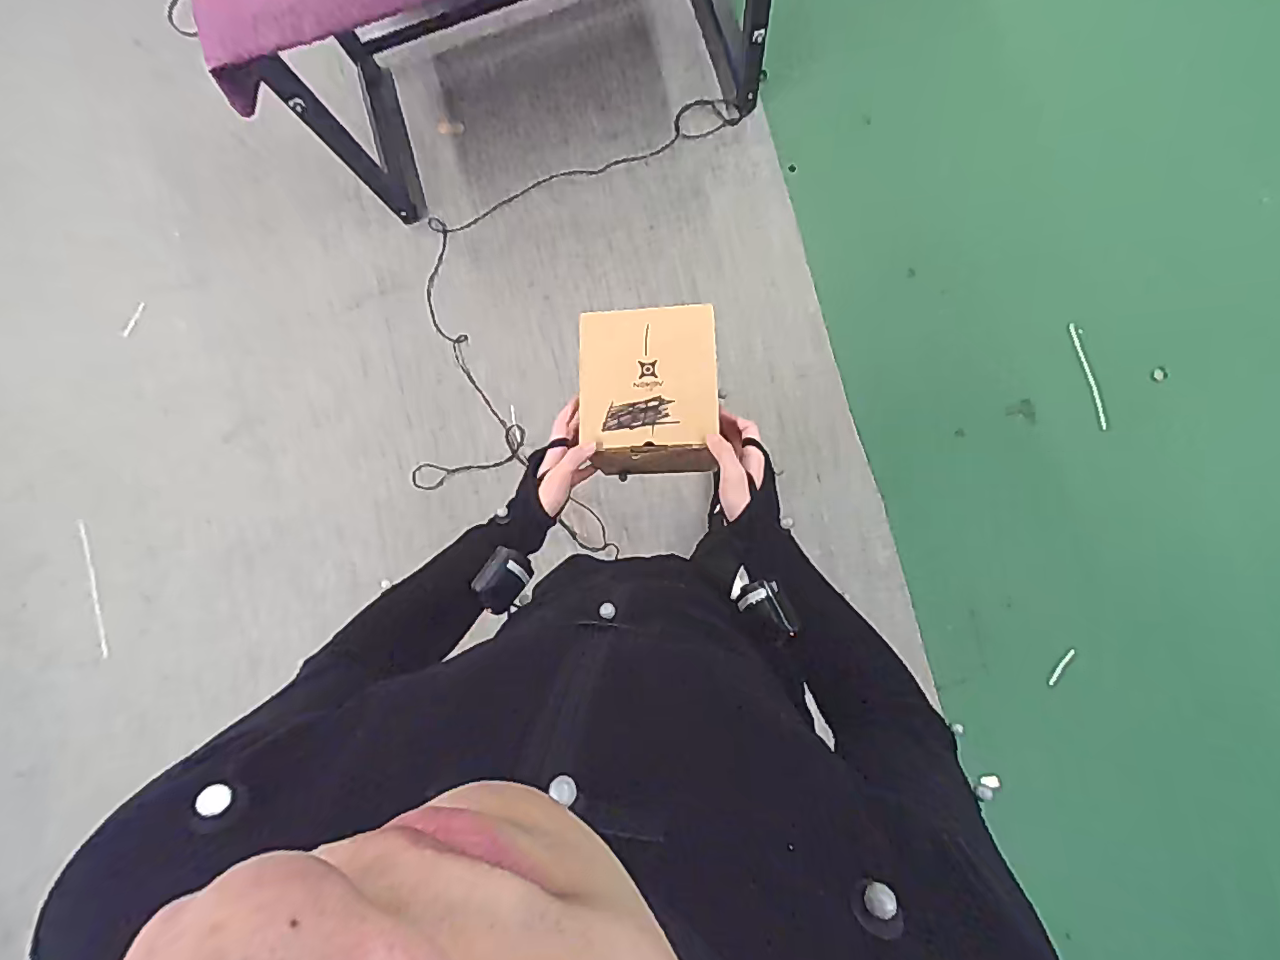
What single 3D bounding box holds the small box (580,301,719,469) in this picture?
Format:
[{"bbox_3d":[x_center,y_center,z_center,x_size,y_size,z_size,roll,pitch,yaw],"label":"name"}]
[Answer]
[{"bbox_3d":[0.019,-0.111,0.713,0.168,0.176,0.179,-2,80,6],"label":"small box"}]
